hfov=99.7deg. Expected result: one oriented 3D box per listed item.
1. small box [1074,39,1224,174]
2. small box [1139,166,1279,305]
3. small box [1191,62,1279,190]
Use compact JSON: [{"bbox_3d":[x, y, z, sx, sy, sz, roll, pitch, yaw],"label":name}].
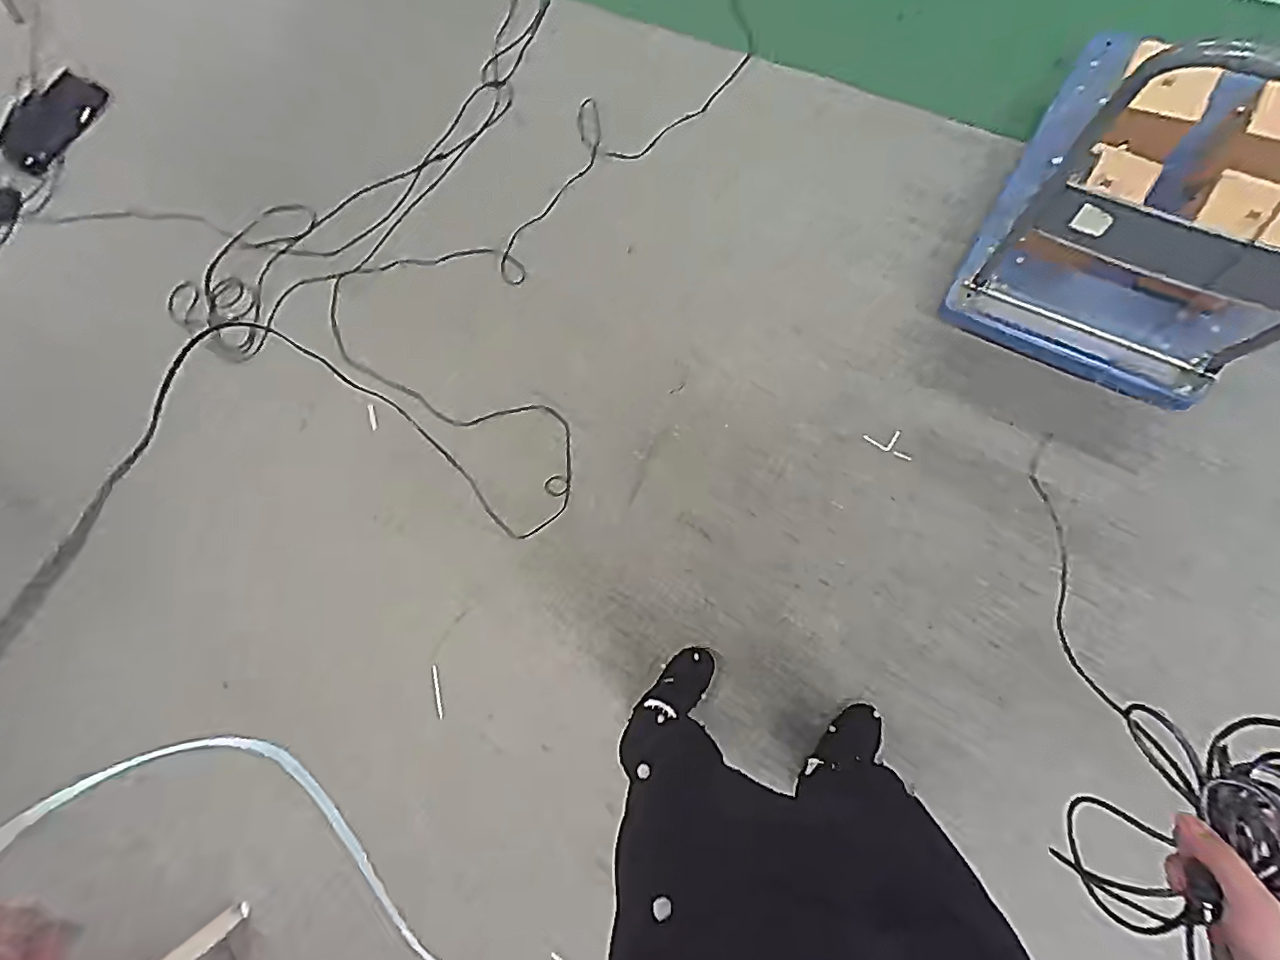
[{"bbox_3d":[1.146,-0.845,1.236,0.168,0.176,0.179,25,84,15],"label":"small box"},{"bbox_3d":[1.228,-0.511,1.146,0.168,0.176,0.179,30,86,16],"label":"small box"},{"bbox_3d":[1.365,-0.742,1.168,0.168,0.176,0.179,25,85,16],"label":"small box"}]
